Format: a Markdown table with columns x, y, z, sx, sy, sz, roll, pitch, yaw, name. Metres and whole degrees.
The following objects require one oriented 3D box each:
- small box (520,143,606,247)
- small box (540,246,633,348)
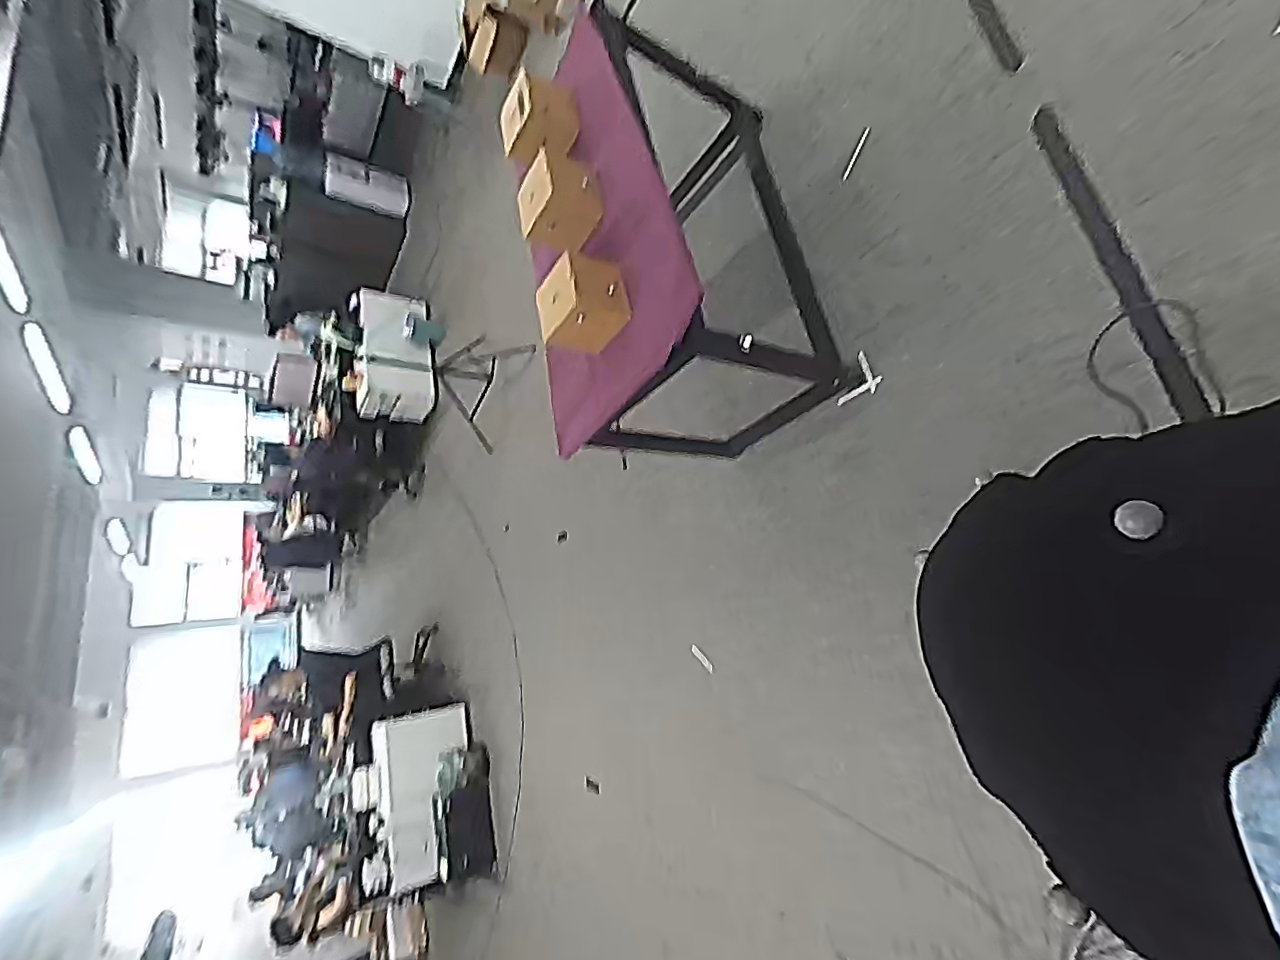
| x | y | z | sx | sy | sz | roll | pitch | yaw | name |
| --- | --- | --- | --- | --- | --- | --- | --- | --- | --- |
| -0.220 | -0.799 | 1.539 | 0.179 | 0.176 | 0.168 | -33 | 64 | 46 | small box |
| -0.143 | -0.472 | 1.427 | 0.179 | 0.176 | 0.168 | -34 | 62 | 45 | small box |
